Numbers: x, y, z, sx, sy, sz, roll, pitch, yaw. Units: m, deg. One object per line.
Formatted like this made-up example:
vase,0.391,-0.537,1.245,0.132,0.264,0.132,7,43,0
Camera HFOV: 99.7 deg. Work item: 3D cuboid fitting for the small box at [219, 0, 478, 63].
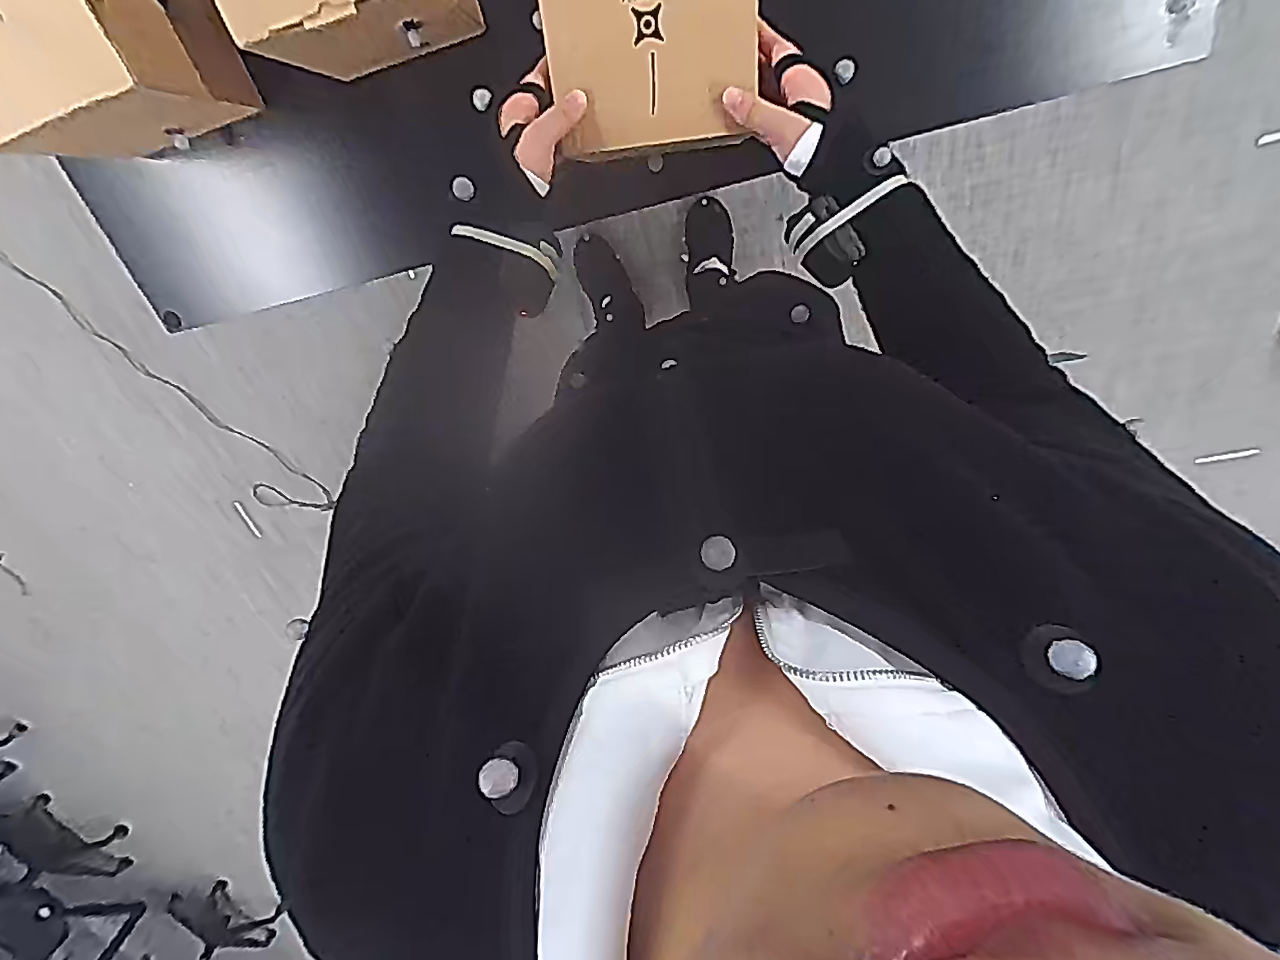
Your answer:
small box,-0.256,-0.475,0.445,0.168,0.176,0.179,-12,117,8

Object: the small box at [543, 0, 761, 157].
small box,0.011,-0.395,0.475,0.168,0.176,0.179,-4,120,5

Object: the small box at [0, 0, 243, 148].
small box,-0.509,-0.418,0.486,0.179,0.176,0.168,-13,118,8
